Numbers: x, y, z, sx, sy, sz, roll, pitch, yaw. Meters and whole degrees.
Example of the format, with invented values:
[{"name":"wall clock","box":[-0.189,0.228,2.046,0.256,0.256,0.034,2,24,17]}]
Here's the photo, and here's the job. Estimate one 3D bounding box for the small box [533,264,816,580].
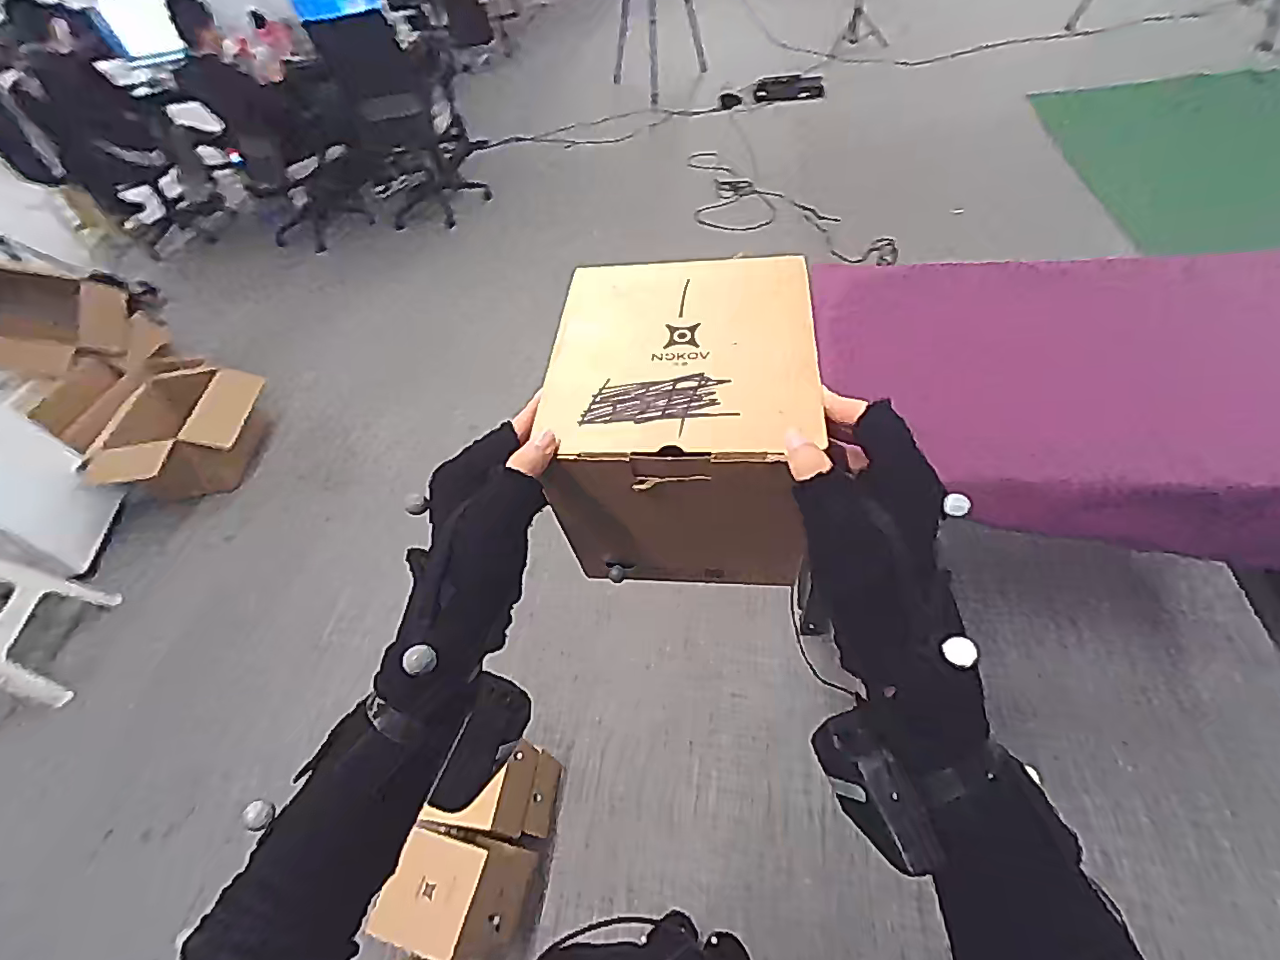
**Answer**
[{"name":"small box","box":[0.037,-0.036,0.413,0.168,0.176,0.179,1,55,10]}]
